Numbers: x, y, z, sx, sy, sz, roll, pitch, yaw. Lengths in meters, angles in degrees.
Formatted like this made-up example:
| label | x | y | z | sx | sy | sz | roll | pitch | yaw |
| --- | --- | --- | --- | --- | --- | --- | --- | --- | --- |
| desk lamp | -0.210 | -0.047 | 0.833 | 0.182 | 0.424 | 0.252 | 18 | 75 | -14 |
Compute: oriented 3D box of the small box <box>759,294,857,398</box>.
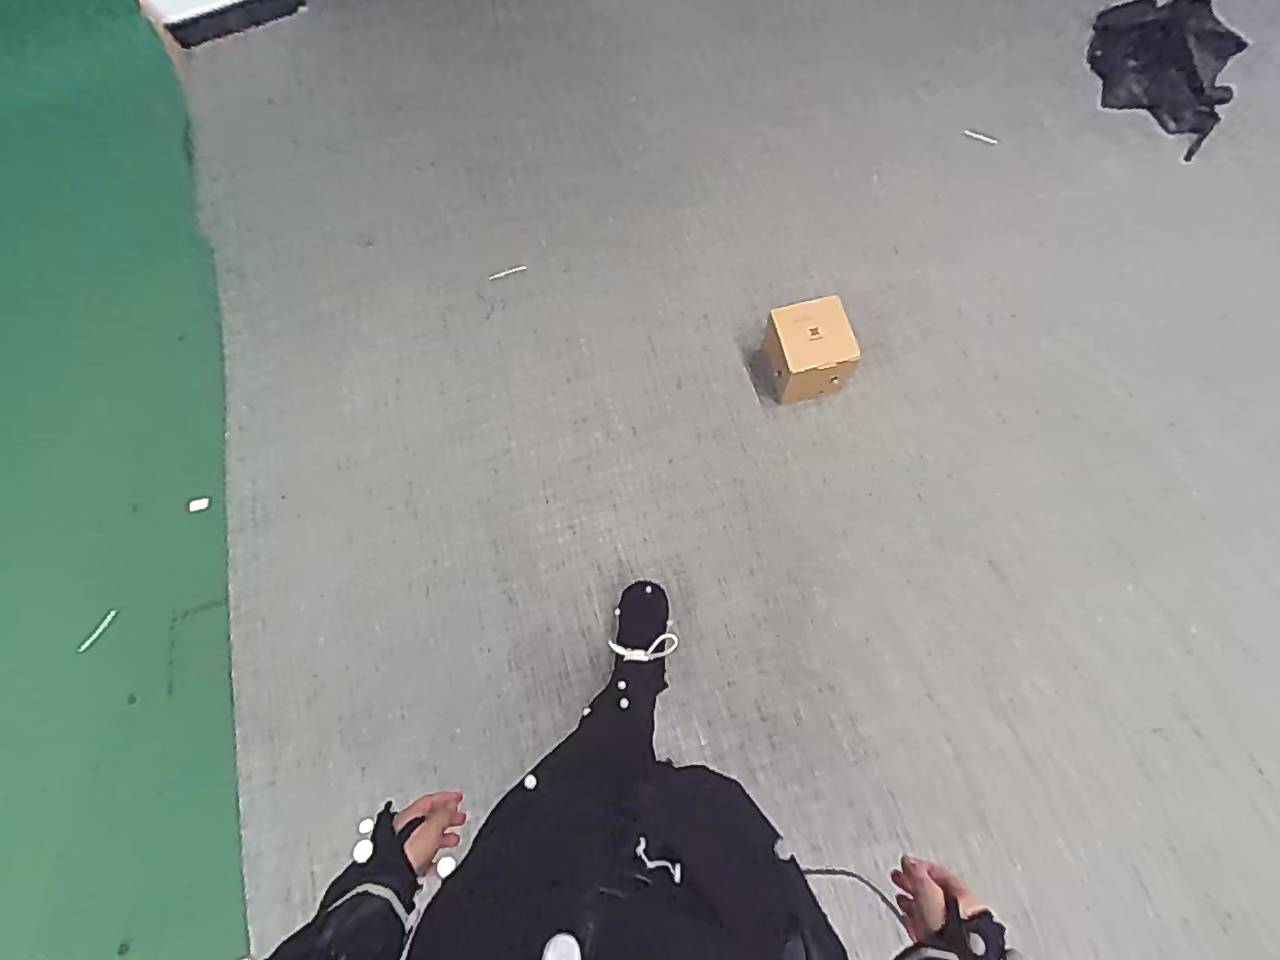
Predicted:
| label | x | y | z | sx | sy | sz | roll | pitch | yaw |
| --- | --- | --- | --- | --- | --- | --- | --- | --- | --- |
| small box | 0.399 | -0.314 | 1.314 | 0.168 | 0.176 | 0.179 | -13 | 71 | -1 |
